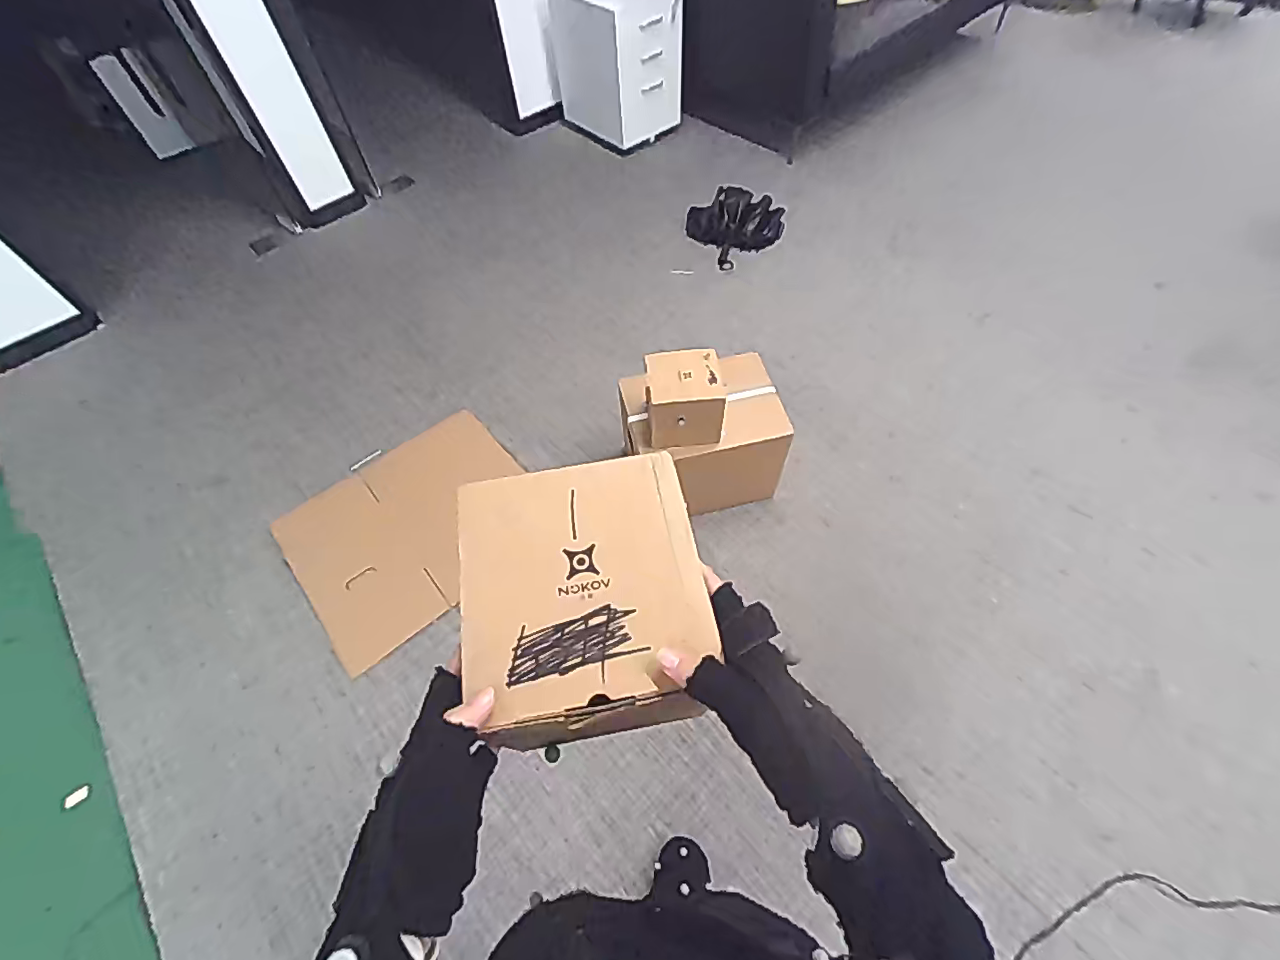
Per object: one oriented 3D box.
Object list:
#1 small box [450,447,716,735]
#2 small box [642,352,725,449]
[{"bbox_3d":[-0.044,0.102,0.451,0.168,0.176,0.179,-13,62,-6],"label":"small box"},{"bbox_3d":[0.106,-0.194,1.350,0.179,0.176,0.168,-8,55,-3],"label":"small box"}]
